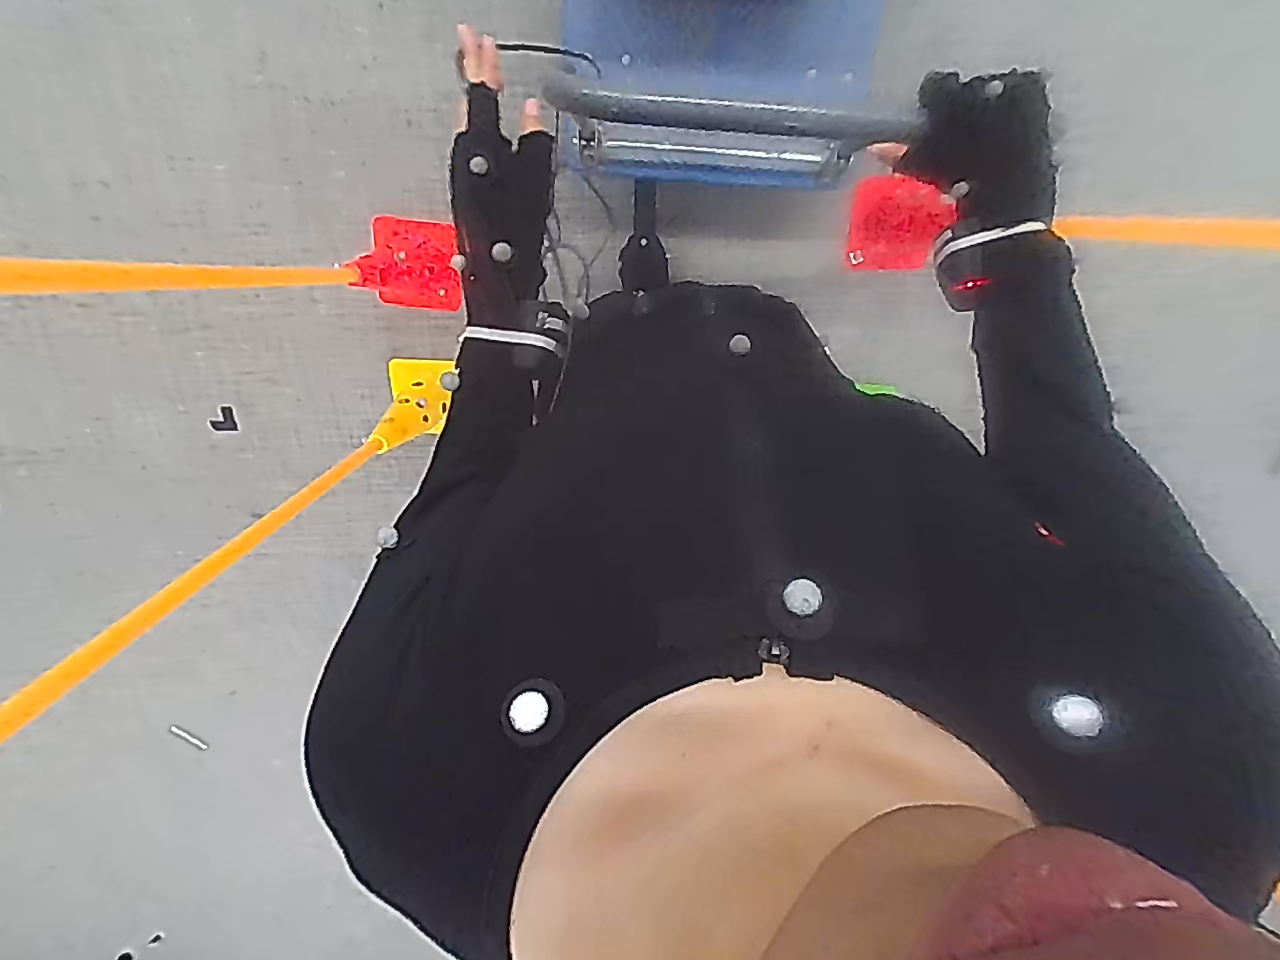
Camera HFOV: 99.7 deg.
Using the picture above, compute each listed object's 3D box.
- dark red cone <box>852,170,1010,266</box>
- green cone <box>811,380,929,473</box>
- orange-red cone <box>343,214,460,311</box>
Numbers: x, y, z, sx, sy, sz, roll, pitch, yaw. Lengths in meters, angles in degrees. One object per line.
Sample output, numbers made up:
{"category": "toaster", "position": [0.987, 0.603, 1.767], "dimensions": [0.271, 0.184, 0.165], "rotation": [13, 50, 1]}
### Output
{"category": "dark red cone", "position": [0.605, -0.537, 1.104], "dimensions": [0.201, 0.394, 0.202], "rotation": [-2, 115, -3]}
{"category": "green cone", "position": [0.586, -0.102, 1.319], "dimensions": [0.202, 0.368, 0.200], "rotation": [2, 114, -4]}
{"category": "orange-red cone", "position": [-0.526, -0.450, 1.136], "dimensions": [0.198, 0.360, 0.199], "rotation": [6, 113, -5]}
